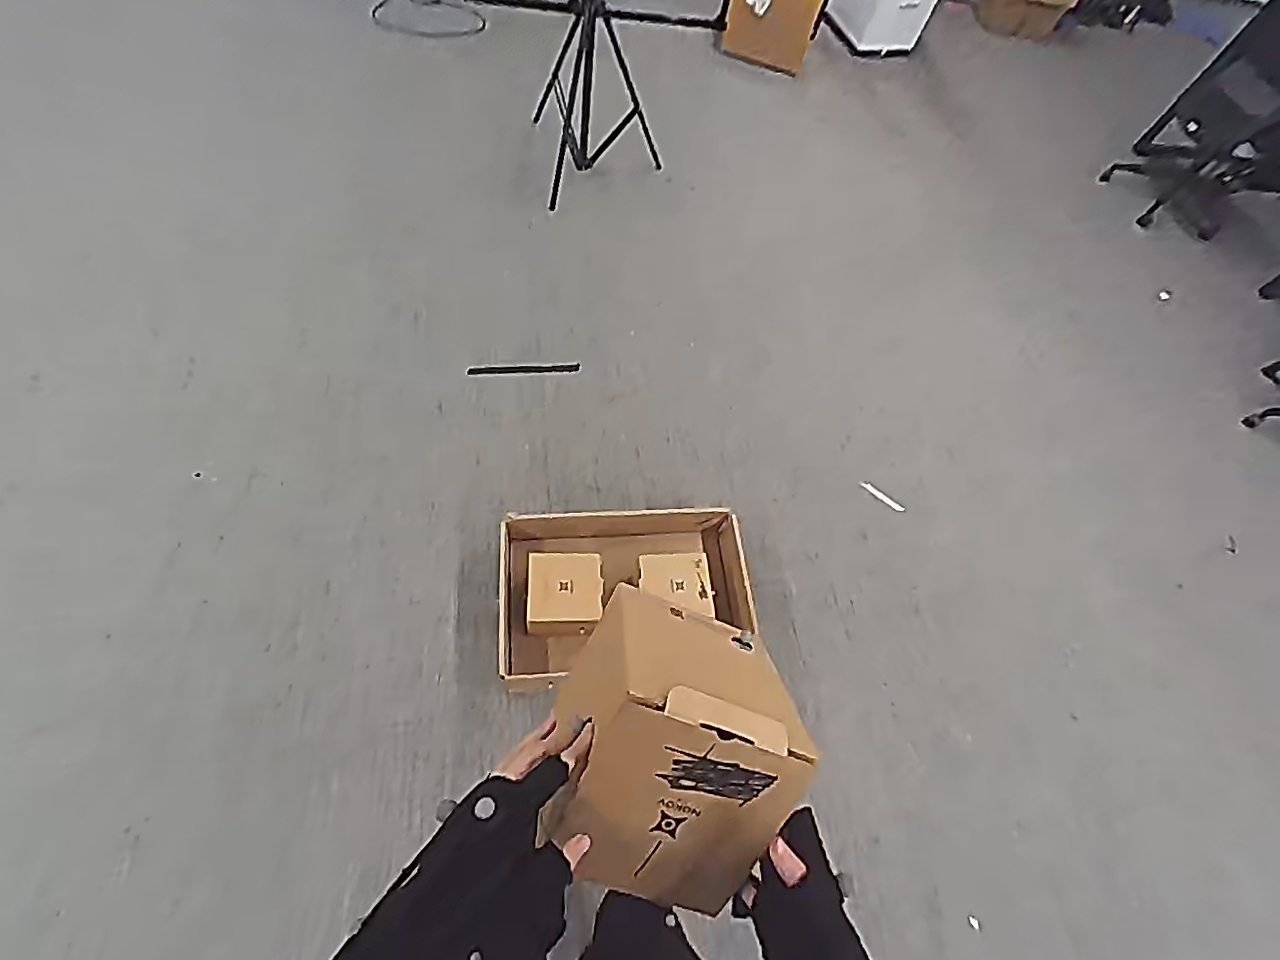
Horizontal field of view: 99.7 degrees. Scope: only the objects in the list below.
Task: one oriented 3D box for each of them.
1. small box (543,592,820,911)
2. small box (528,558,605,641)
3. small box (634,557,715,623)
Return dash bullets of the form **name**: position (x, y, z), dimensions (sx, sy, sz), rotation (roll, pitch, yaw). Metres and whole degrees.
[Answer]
- **small box**: position (0.024, 0.230, 0.494), dimensions (0.168, 0.176, 0.179), rotation (24, 103, -11)
- **small box**: position (-0.185, 0.300, 1.344), dimensions (0.179, 0.176, 0.168), rotation (1, 62, -9)
- **small box**: position (0.079, 0.305, 1.387), dimensions (0.179, 0.176, 0.168), rotation (-2, 63, -8)
